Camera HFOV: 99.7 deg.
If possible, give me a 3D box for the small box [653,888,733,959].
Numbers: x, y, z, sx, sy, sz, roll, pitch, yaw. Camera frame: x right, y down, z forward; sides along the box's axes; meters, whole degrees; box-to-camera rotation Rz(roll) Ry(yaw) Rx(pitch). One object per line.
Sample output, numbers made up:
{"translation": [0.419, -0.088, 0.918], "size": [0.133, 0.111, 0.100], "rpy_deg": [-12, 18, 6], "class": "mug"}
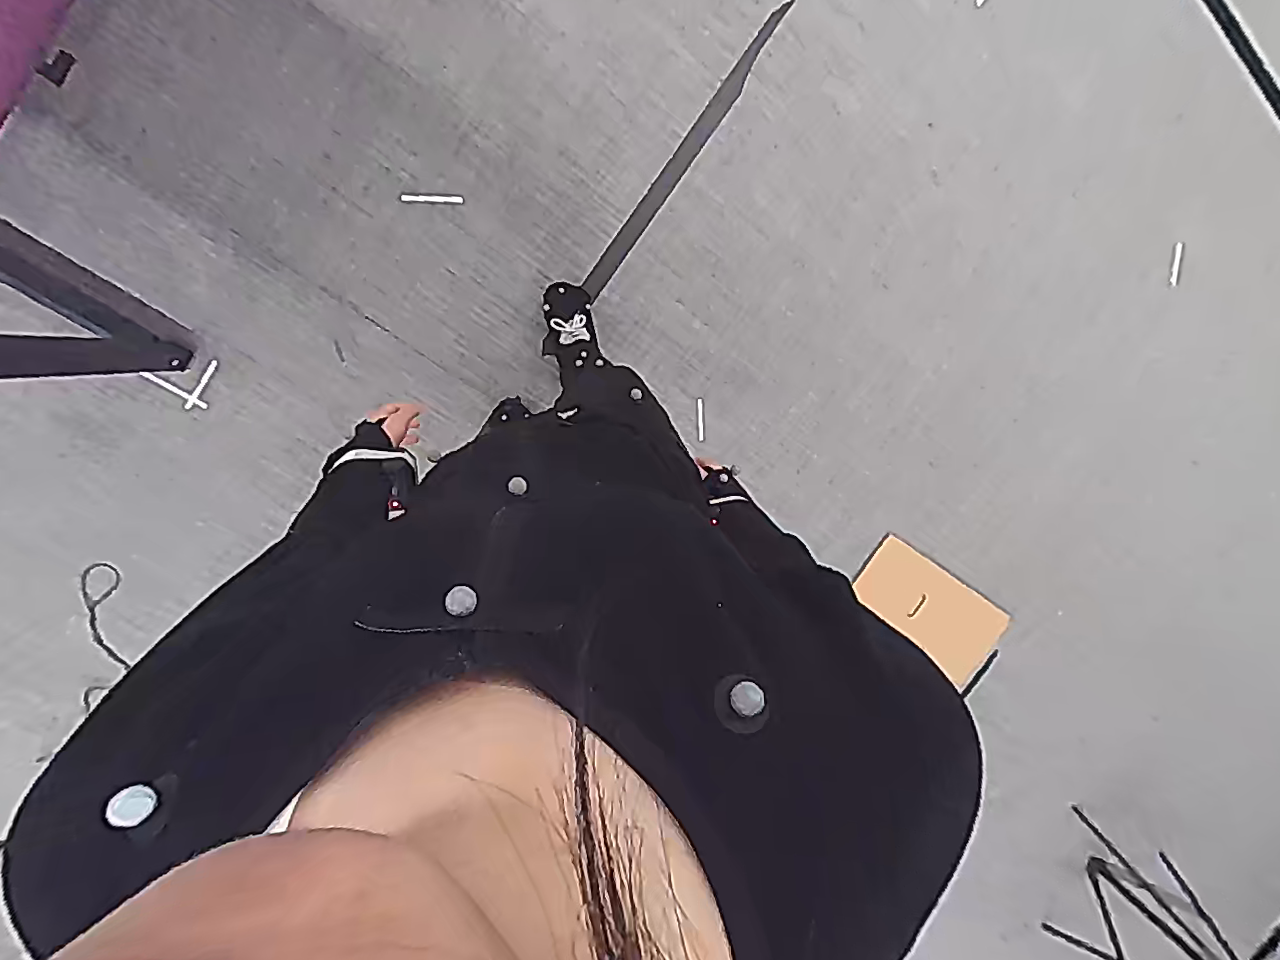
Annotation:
{"translation": [0.138, 1.223, 1.422], "size": [0.179, 0.176, 0.168], "rpy_deg": [-7, 103, -8], "class": "small box"}
